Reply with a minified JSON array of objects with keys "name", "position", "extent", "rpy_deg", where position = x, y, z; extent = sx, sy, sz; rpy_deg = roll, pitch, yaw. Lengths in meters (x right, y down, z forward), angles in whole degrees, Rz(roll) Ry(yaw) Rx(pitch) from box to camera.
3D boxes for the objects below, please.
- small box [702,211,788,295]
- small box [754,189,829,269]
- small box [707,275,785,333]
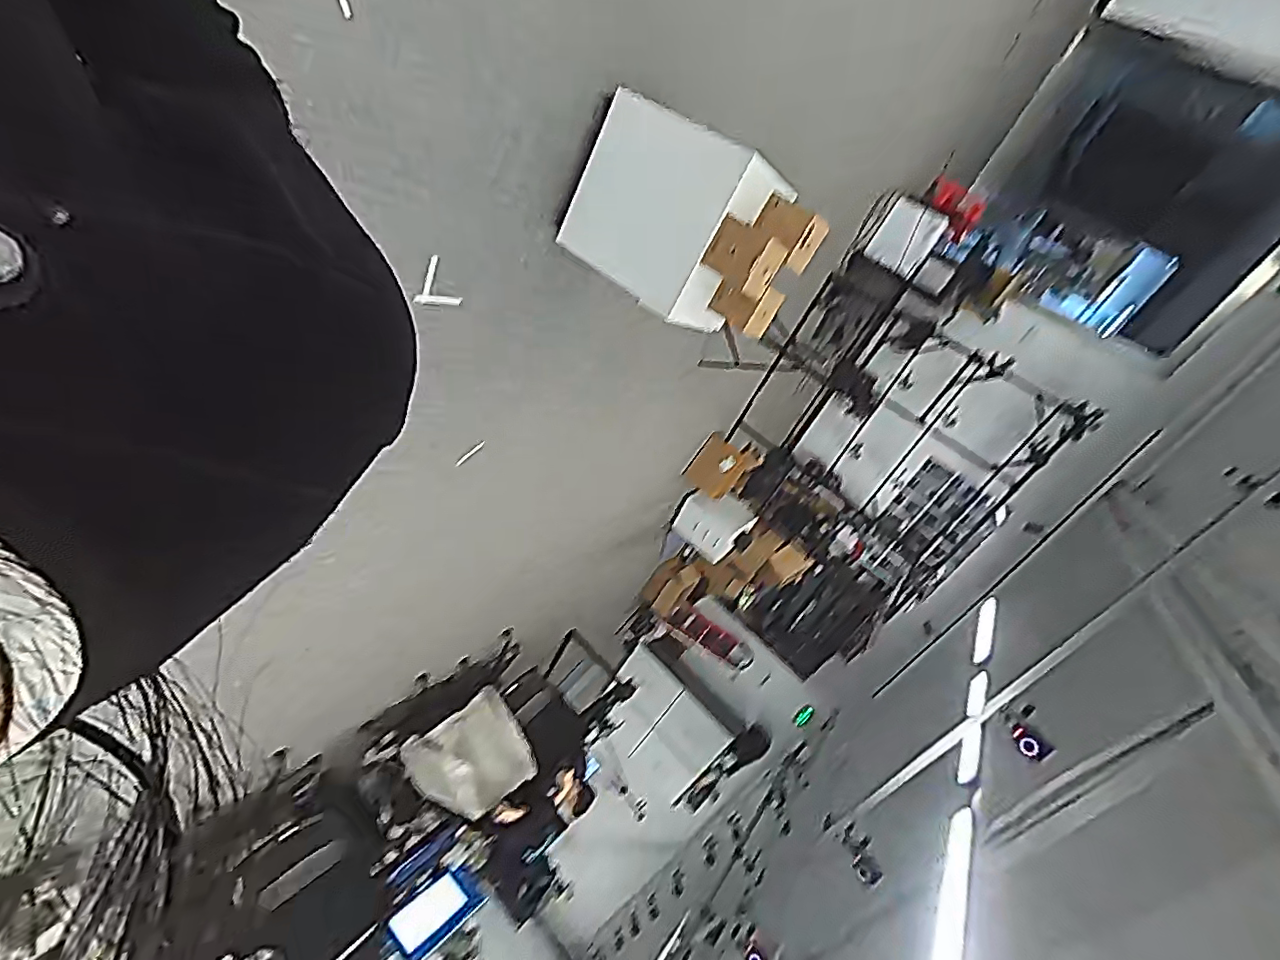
[{"name":"small box","position":[0.320,-0.700,1.666],"extent":[0.179,0.176,0.168],"rpy_deg":[-12,138,-58]},{"name":"small box","position":[0.486,-0.826,1.776],"extent":[0.179,0.176,0.168],"rpy_deg":[-13,139,-57]},{"name":"small box","position":[0.368,-0.632,1.880],"extent":[0.179,0.176,0.168],"rpy_deg":[-12,137,-55]}]
